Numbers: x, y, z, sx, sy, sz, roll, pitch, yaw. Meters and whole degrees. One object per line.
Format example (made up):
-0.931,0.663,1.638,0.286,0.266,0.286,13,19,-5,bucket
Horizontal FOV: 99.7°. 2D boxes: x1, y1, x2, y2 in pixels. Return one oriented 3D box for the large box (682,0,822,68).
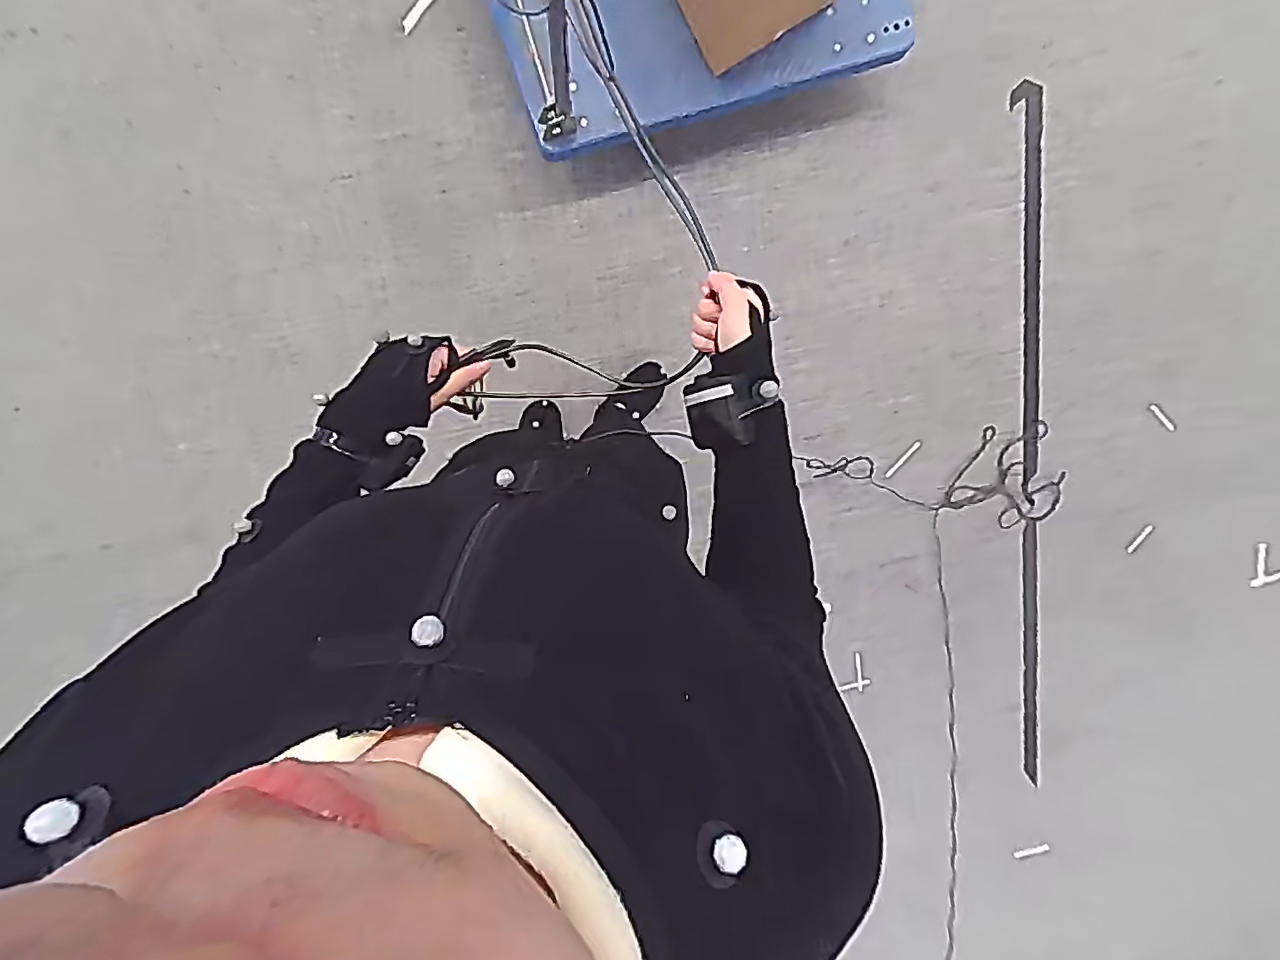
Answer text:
0.202,-1.078,0.953,0.320,0.320,0.408,-32,105,2,large box
